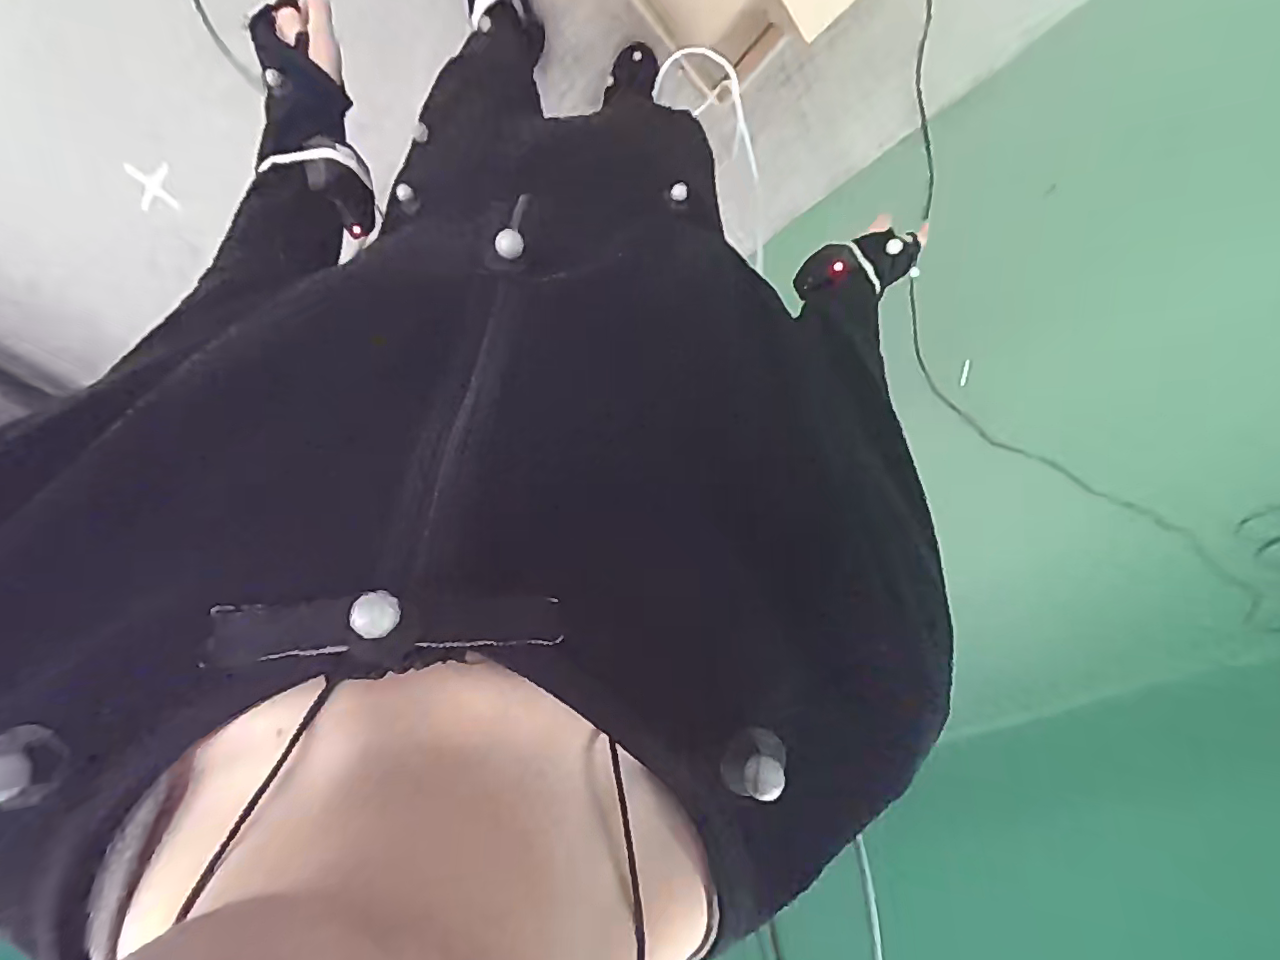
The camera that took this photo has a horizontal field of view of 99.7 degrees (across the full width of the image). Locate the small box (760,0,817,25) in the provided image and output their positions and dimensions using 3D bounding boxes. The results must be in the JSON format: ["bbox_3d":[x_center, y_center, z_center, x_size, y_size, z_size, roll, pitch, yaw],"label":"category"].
[{"bbox_3d":[0.224,-0.781,0.743,0.179,0.176,0.168,-32,126,27],"label":"small box"}]
